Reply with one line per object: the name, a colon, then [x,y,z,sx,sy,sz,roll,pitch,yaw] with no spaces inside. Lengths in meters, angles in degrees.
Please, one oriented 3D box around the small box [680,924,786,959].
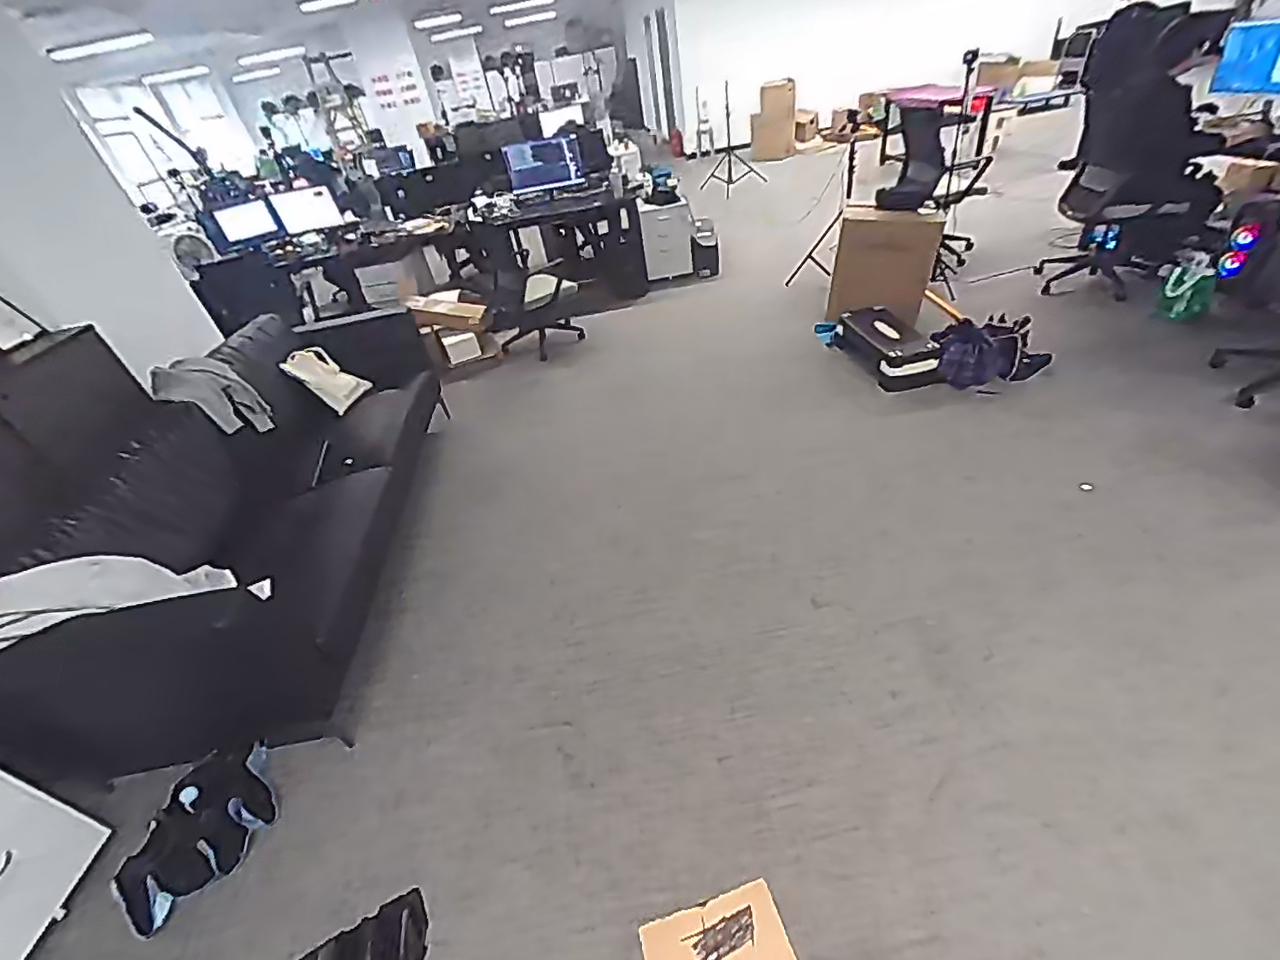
small box: [0.119,0.668,0.604,0.168,0.176,0.179,-16,20,-8]
